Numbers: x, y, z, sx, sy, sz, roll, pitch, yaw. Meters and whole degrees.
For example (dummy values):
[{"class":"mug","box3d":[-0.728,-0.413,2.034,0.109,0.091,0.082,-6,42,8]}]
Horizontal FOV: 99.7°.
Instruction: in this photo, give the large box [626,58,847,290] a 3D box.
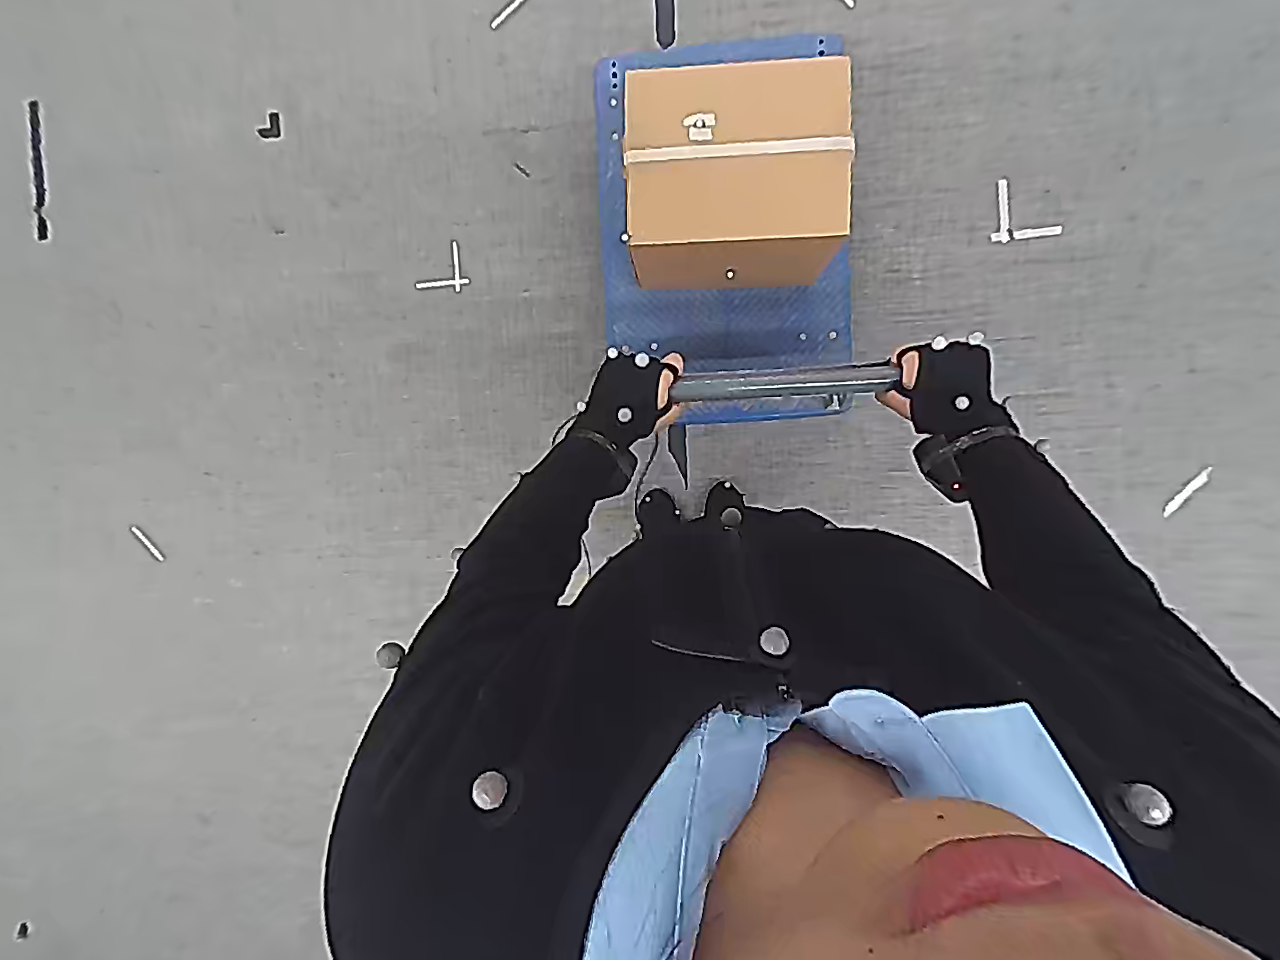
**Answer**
[{"class":"large box","box3d":[0.192,-0.608,1.142,0.408,0.320,0.320,-1,92,6]}]
